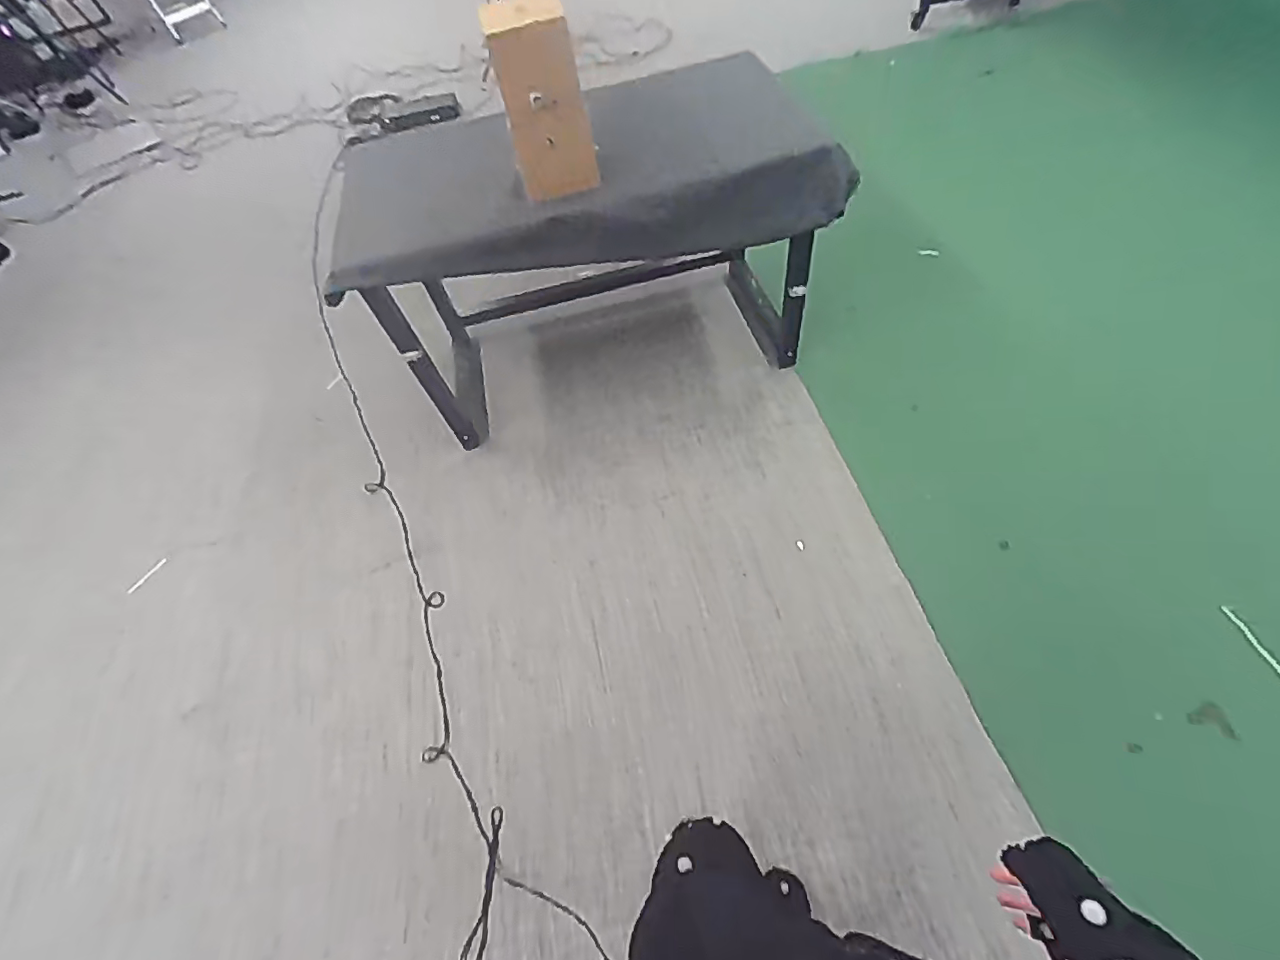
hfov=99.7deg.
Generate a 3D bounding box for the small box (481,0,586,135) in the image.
[{"bbox_3d":[-0.222,-0.867,1.139,0.168,0.176,0.179,-16,57,-1],"label":"small box"}]

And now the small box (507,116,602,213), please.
[{"bbox_3d":[-0.200,-0.762,1.282,0.179,0.176,0.168,-14,56,-1],"label":"small box"}]
